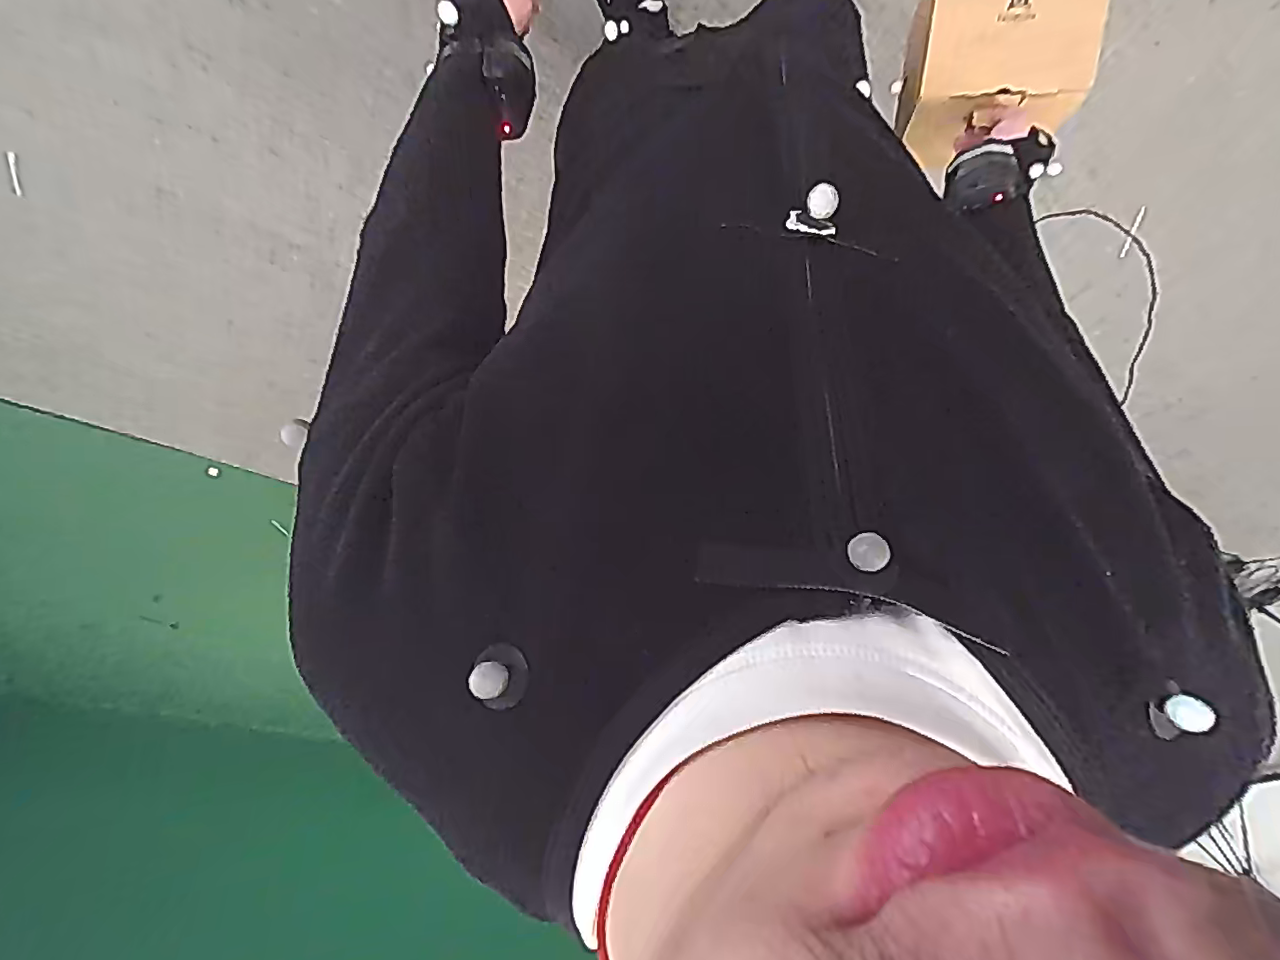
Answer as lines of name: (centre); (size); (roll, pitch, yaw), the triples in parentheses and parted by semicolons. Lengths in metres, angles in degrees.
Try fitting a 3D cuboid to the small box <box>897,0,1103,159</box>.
small box: (0.410, -0.504, 0.639); (0.168, 0.176, 0.179); (5, 96, 16)
